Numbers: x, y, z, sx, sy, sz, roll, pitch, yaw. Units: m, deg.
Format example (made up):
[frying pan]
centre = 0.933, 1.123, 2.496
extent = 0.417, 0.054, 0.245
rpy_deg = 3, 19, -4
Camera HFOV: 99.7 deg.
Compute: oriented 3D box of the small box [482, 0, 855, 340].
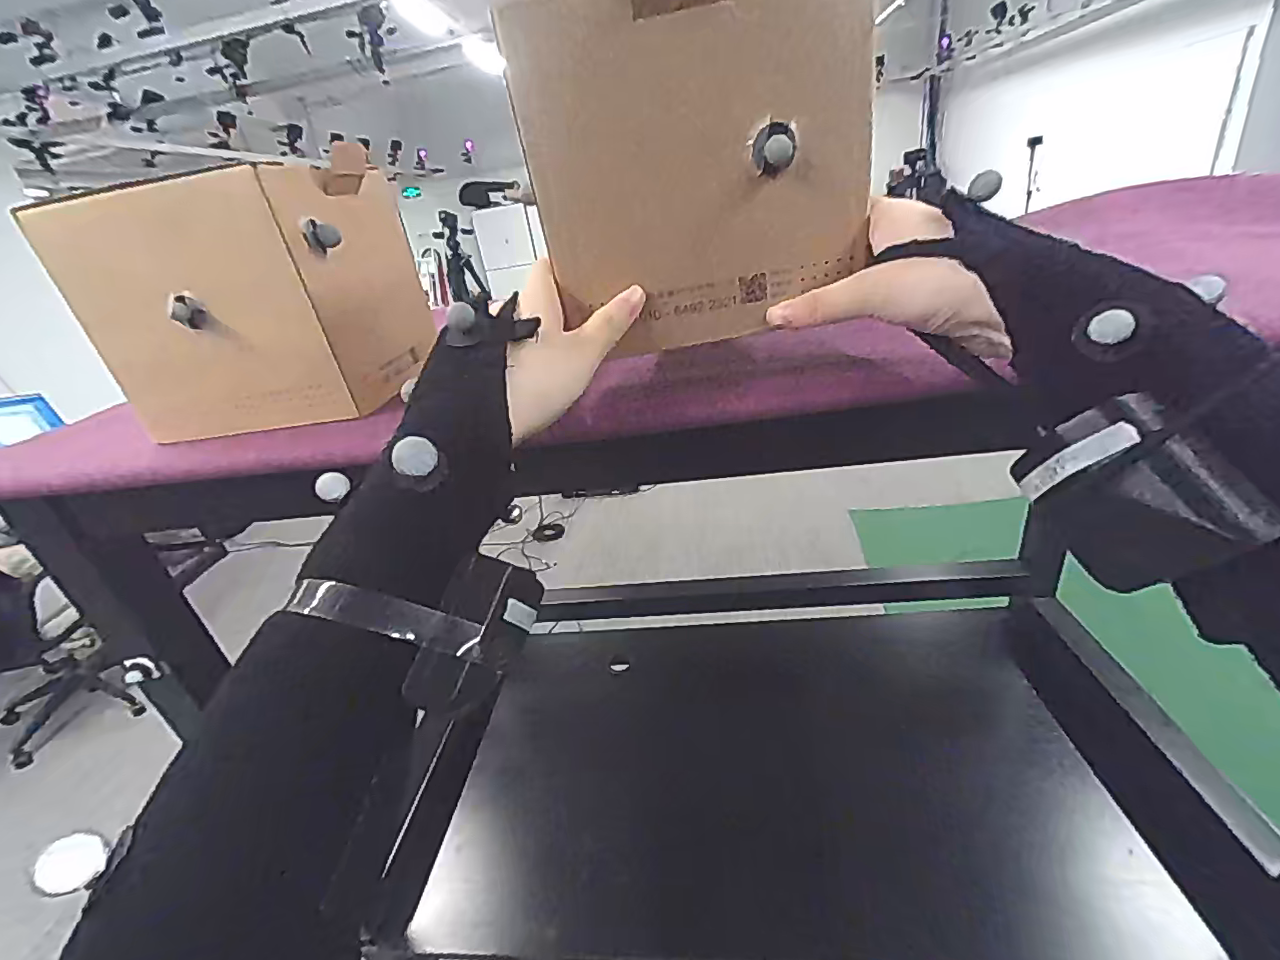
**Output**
[small box]
centre = 0.025, -0.193, 0.333
extent = 0.168, 0.176, 0.179
rpy_deg = -9, 29, 4
